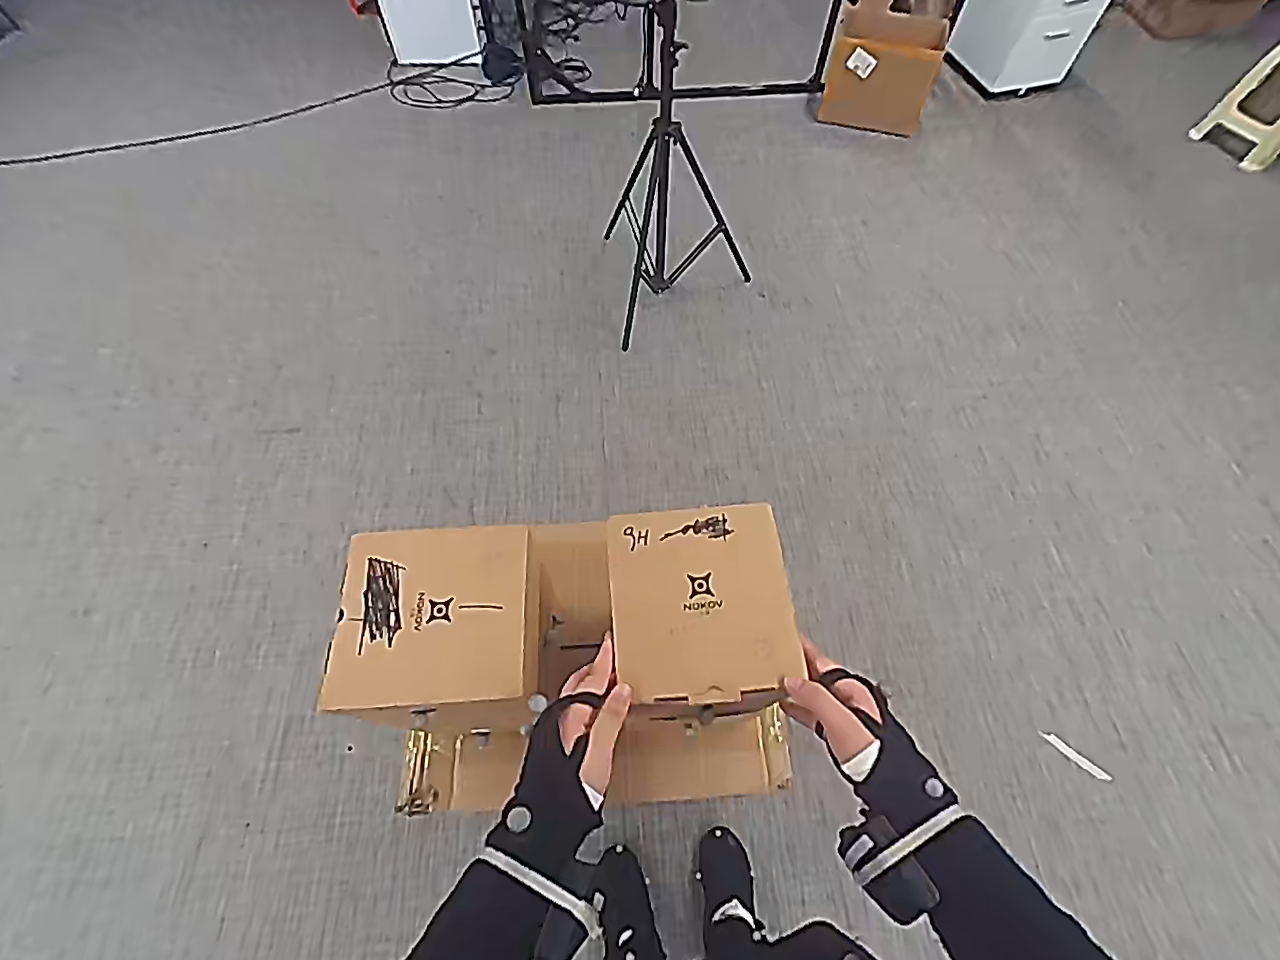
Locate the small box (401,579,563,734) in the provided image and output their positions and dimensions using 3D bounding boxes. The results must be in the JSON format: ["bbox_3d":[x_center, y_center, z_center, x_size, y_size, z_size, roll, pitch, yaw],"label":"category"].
[{"bbox_3d":[-0.197,0.236,0.723,0.168,0.176,0.179,-3,63,-1],"label":"small box"}]

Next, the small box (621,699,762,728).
[{"bbox_3d":[0.056,0.227,0.724,0.168,0.176,0.179,-4,62,0],"label":"small box"}]

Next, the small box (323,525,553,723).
[{"bbox_3d":[-0.194,0.160,0.577,0.179,0.176,0.168,-3,62,-2],"label":"small box"}]

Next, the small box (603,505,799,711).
[{"bbox_3d":[0.054,0.144,0.573,0.168,0.176,0.179,-6,64,-1],"label":"small box"}]
